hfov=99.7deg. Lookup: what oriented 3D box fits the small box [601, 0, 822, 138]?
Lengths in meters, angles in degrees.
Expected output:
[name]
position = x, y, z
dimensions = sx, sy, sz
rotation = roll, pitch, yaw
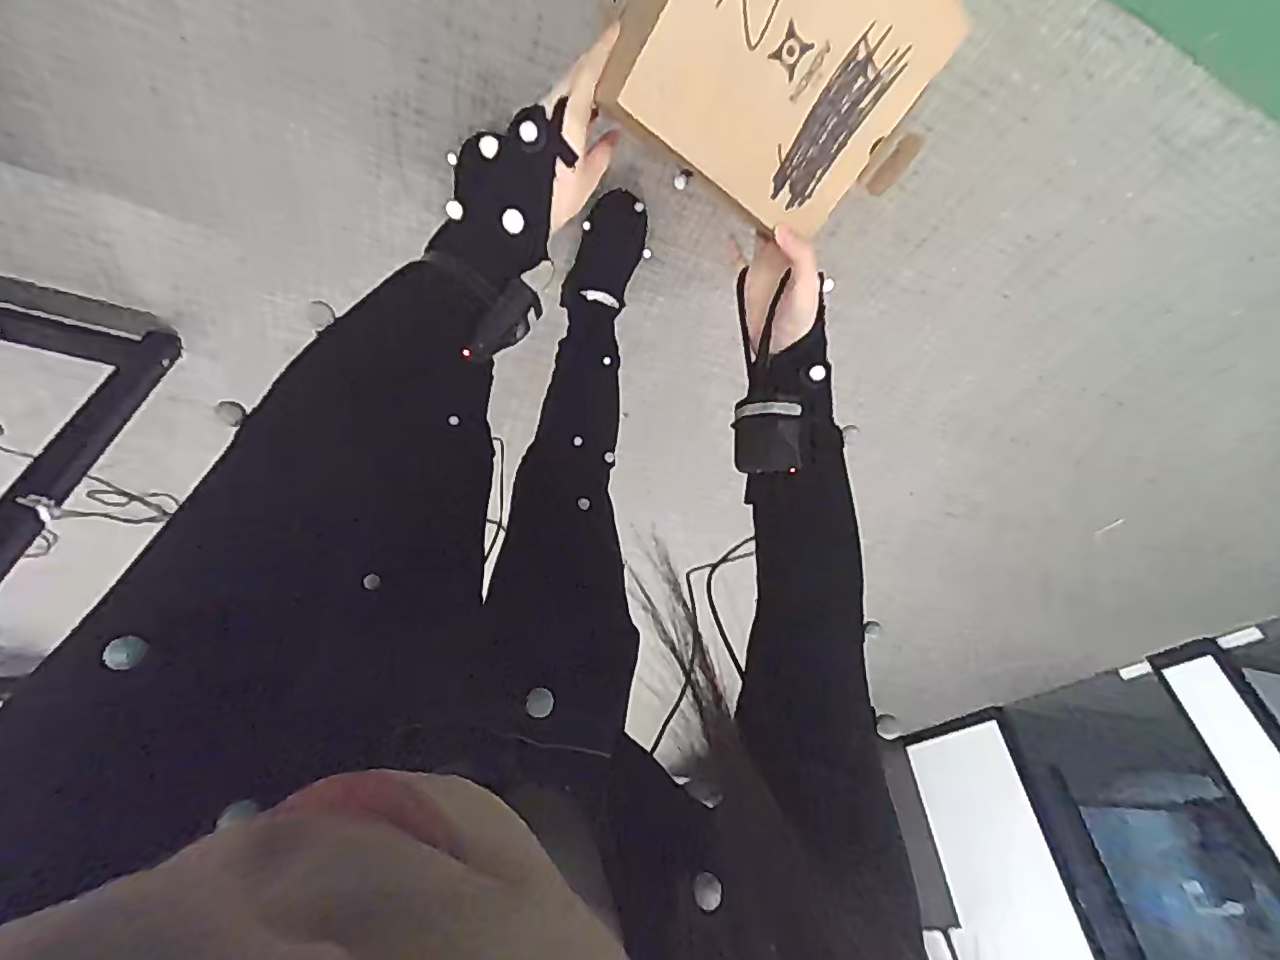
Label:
[small box]
position = 0.070, -0.490, 0.529
dimensions = 0.168, 0.176, 0.179
rotation = 14, 139, -21
